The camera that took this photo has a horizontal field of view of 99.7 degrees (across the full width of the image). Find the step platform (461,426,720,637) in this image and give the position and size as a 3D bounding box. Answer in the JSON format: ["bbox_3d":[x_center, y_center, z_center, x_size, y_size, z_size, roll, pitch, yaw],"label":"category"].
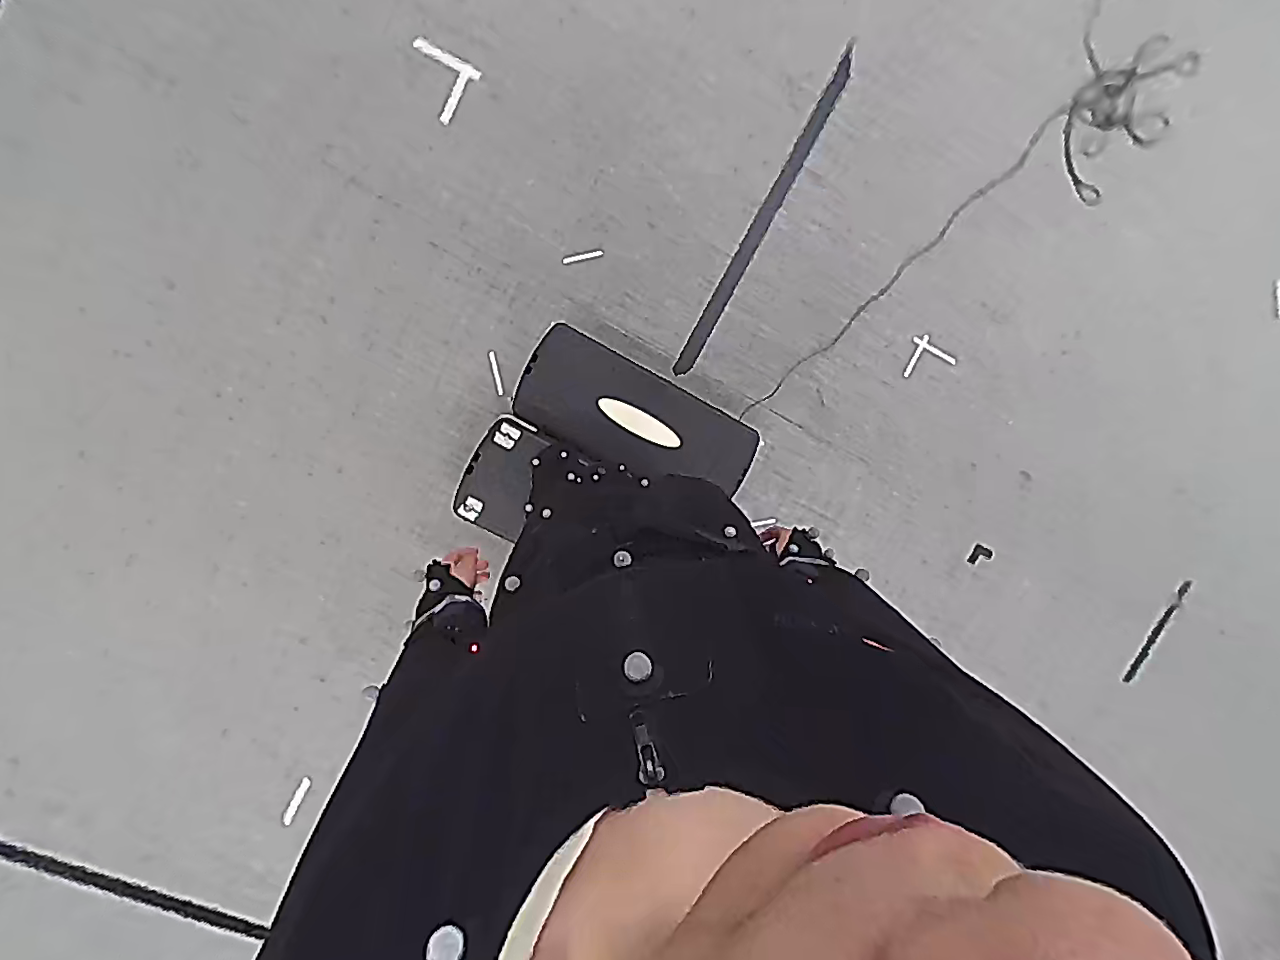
[{"bbox_3d":[-0.126,0.138,1.461,0.684,0.204,0.286,32,91,-7],"label":"step platform"}]
